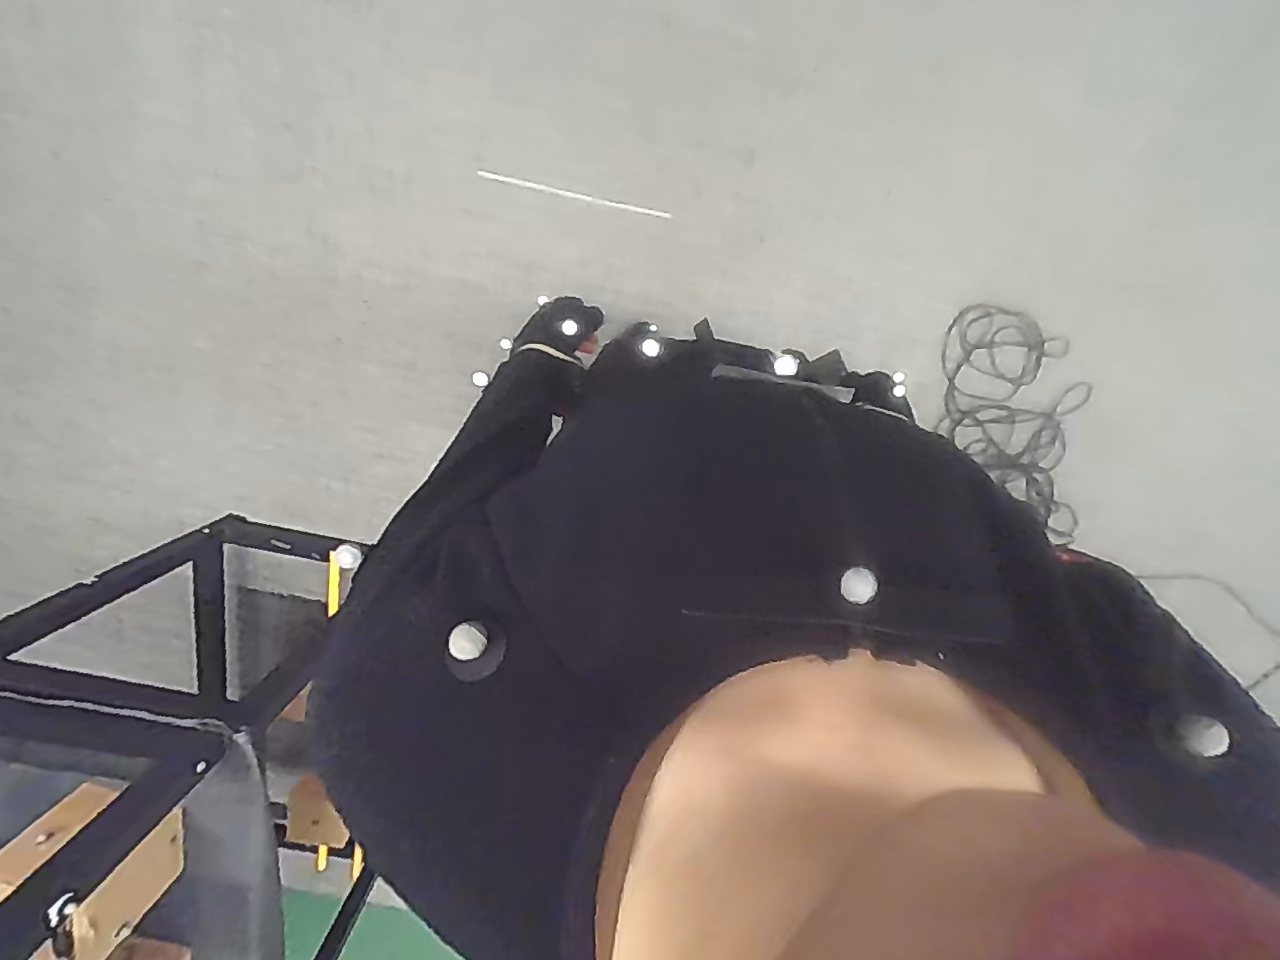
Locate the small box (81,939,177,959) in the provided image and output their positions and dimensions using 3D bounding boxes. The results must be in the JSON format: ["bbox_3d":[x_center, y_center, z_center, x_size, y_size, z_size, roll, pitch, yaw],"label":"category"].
[{"bbox_3d":[-0.979,0.997,0.982,0.168,0.176,0.179,14,106,-3],"label":"small box"}]
